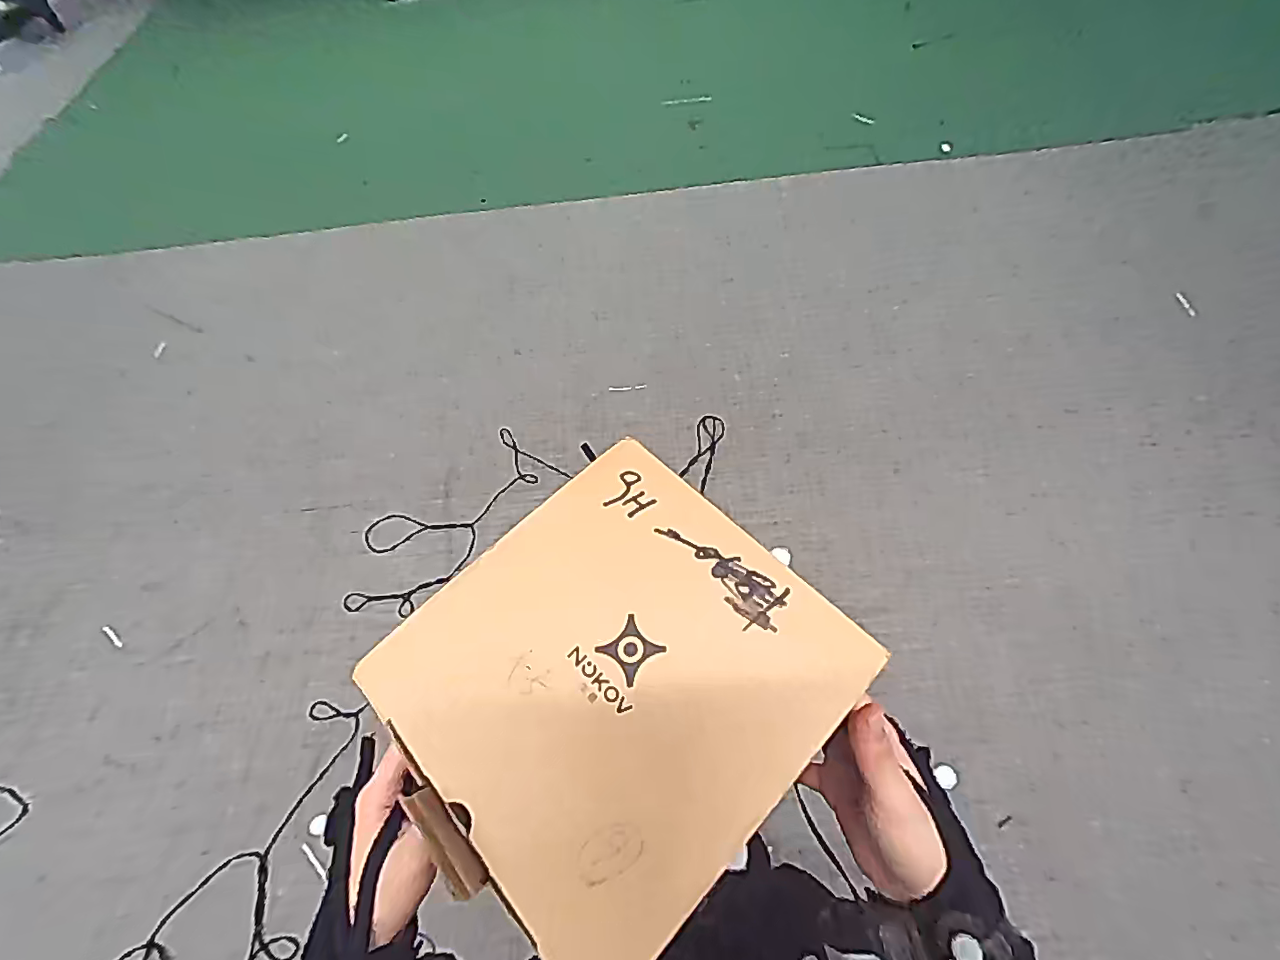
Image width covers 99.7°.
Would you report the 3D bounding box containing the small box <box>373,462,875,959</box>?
[{"bbox_3d":[-0.004,0.130,0.316,0.179,0.176,0.168,-42,67,-18],"label":"small box"}]
